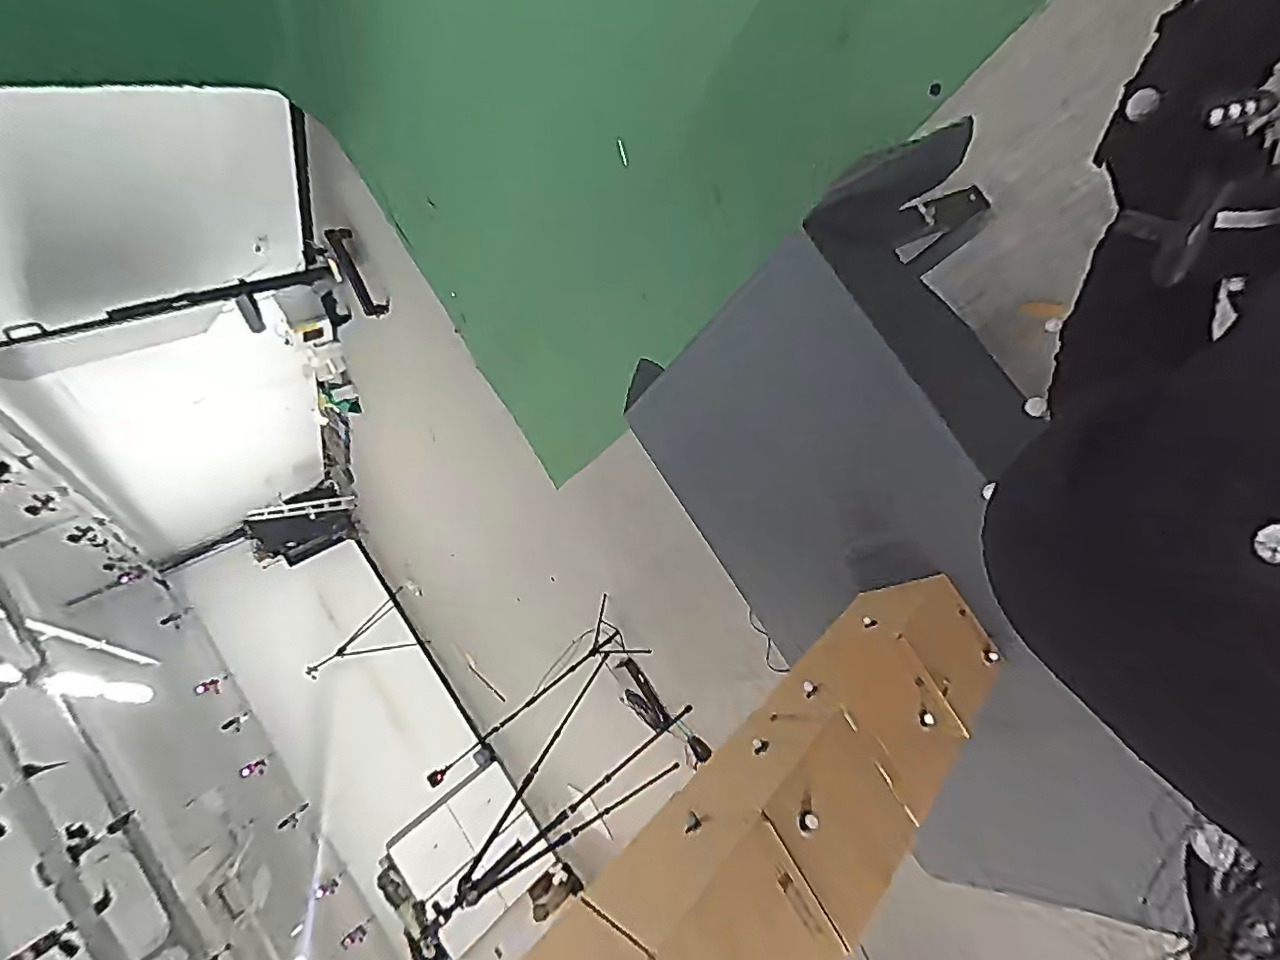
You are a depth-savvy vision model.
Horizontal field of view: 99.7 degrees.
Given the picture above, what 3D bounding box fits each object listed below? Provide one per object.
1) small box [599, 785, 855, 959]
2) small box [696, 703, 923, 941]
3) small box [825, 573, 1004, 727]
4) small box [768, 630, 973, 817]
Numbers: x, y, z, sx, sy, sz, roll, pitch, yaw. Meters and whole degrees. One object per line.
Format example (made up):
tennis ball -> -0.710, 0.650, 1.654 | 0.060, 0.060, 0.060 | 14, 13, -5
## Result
small box -> 0.091, 0.467, 0.587 | 0.168, 0.176, 0.179 | 58, 146, 3
small box -> 0.210, 0.402, 0.678 | 0.179, 0.176, 0.168 | 58, 146, 3
small box -> 0.443, 0.270, 0.865 | 0.168, 0.176, 0.179 | 57, 147, 5
small box -> 0.327, 0.337, 0.773 | 0.168, 0.176, 0.179 | 57, 145, 4
